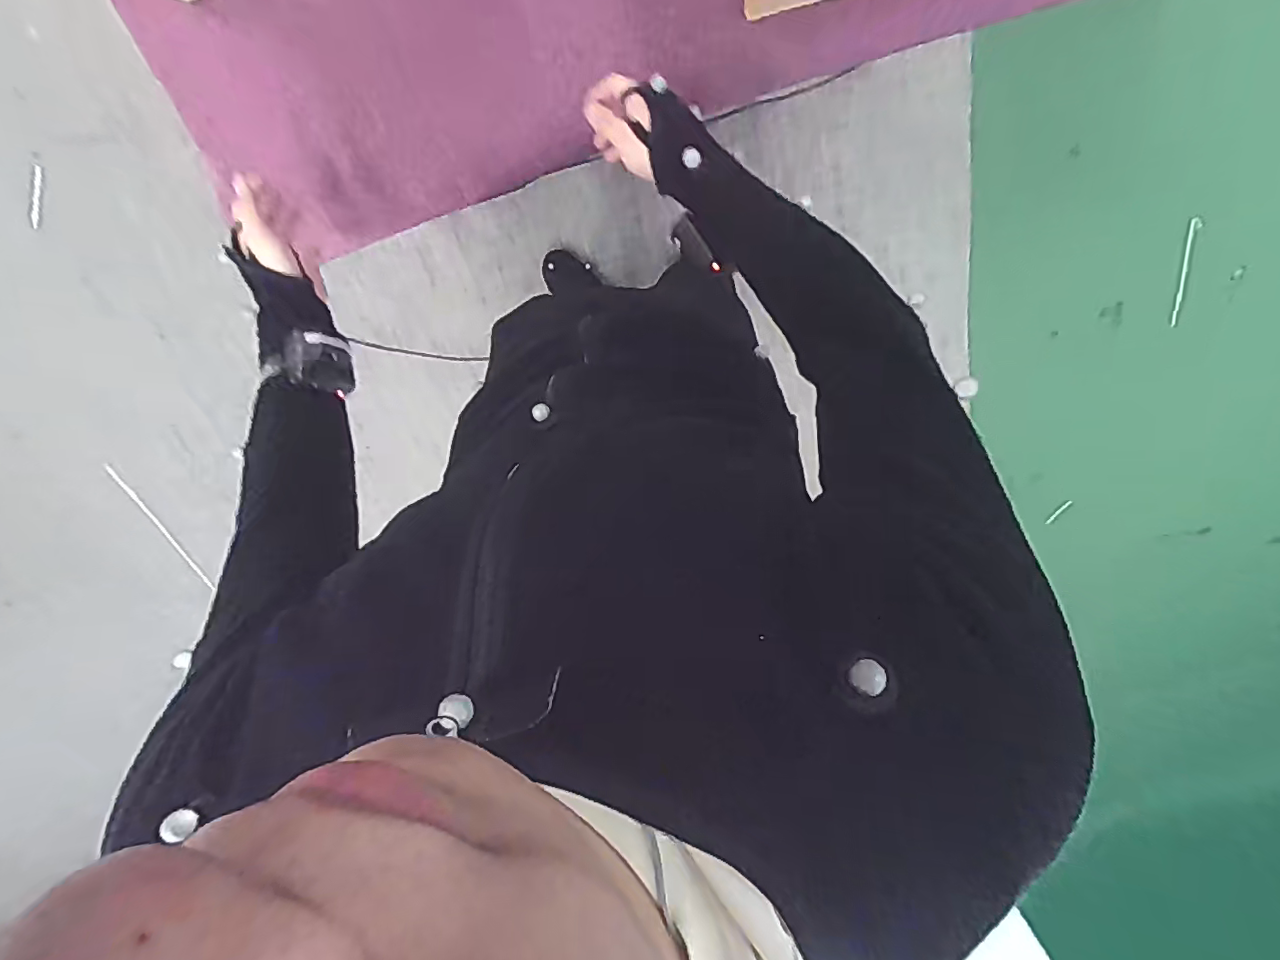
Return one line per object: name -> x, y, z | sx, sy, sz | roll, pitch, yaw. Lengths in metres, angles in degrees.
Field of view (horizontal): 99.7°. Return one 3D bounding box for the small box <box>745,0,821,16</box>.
small box -> 0.191, -0.608, 0.541 | 0.168, 0.176, 0.179 | -15, 115, 2
